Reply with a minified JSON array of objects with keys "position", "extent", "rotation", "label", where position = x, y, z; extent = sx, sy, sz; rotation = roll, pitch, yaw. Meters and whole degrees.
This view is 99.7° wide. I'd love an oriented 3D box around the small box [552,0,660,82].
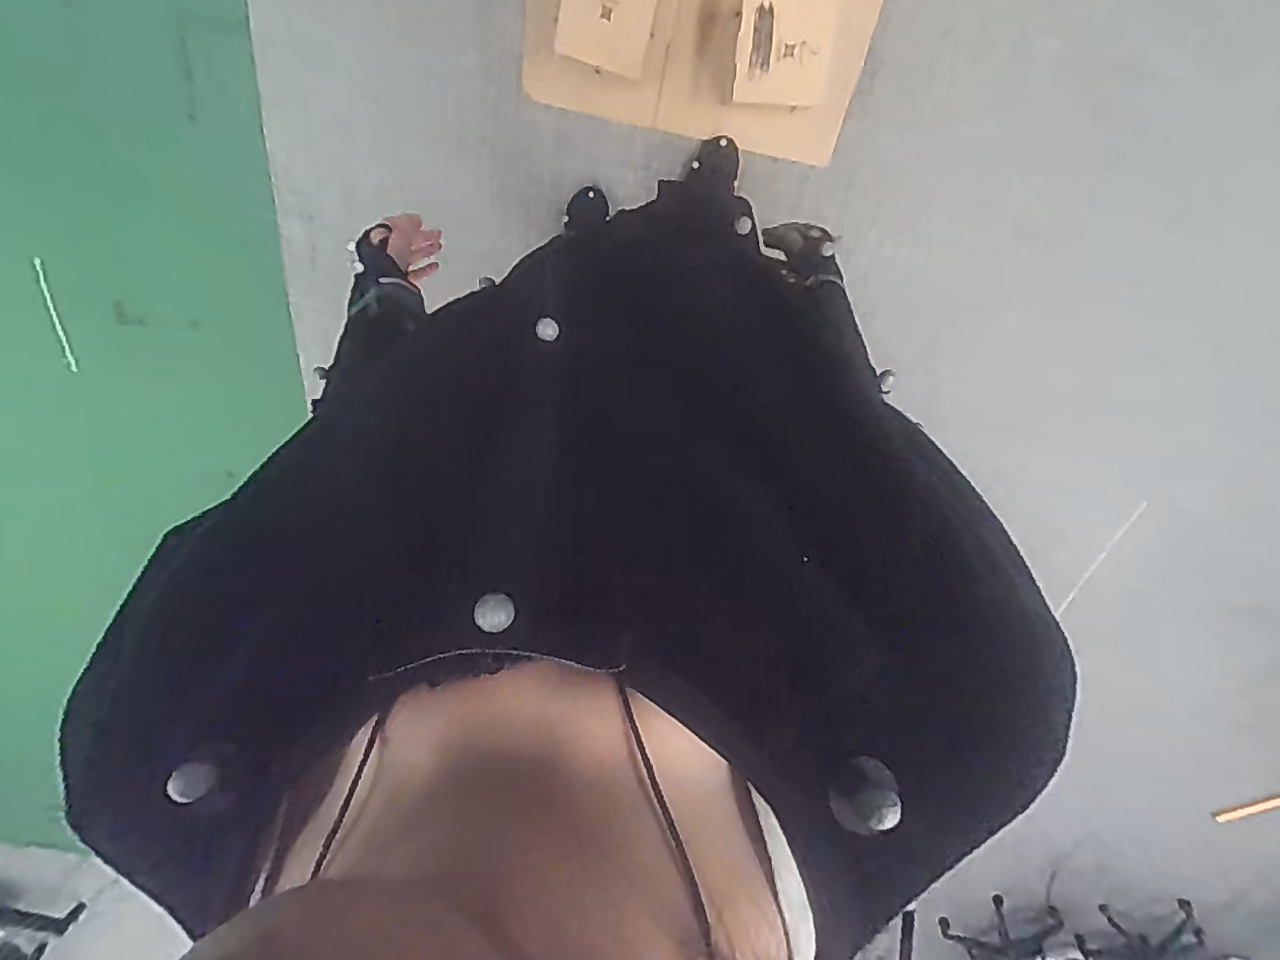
[{"position":[-0.057,-0.883,1.021],"extent":[0.168,0.176,0.179],"rotation":[15,120,-7],"label":"small box"}]
